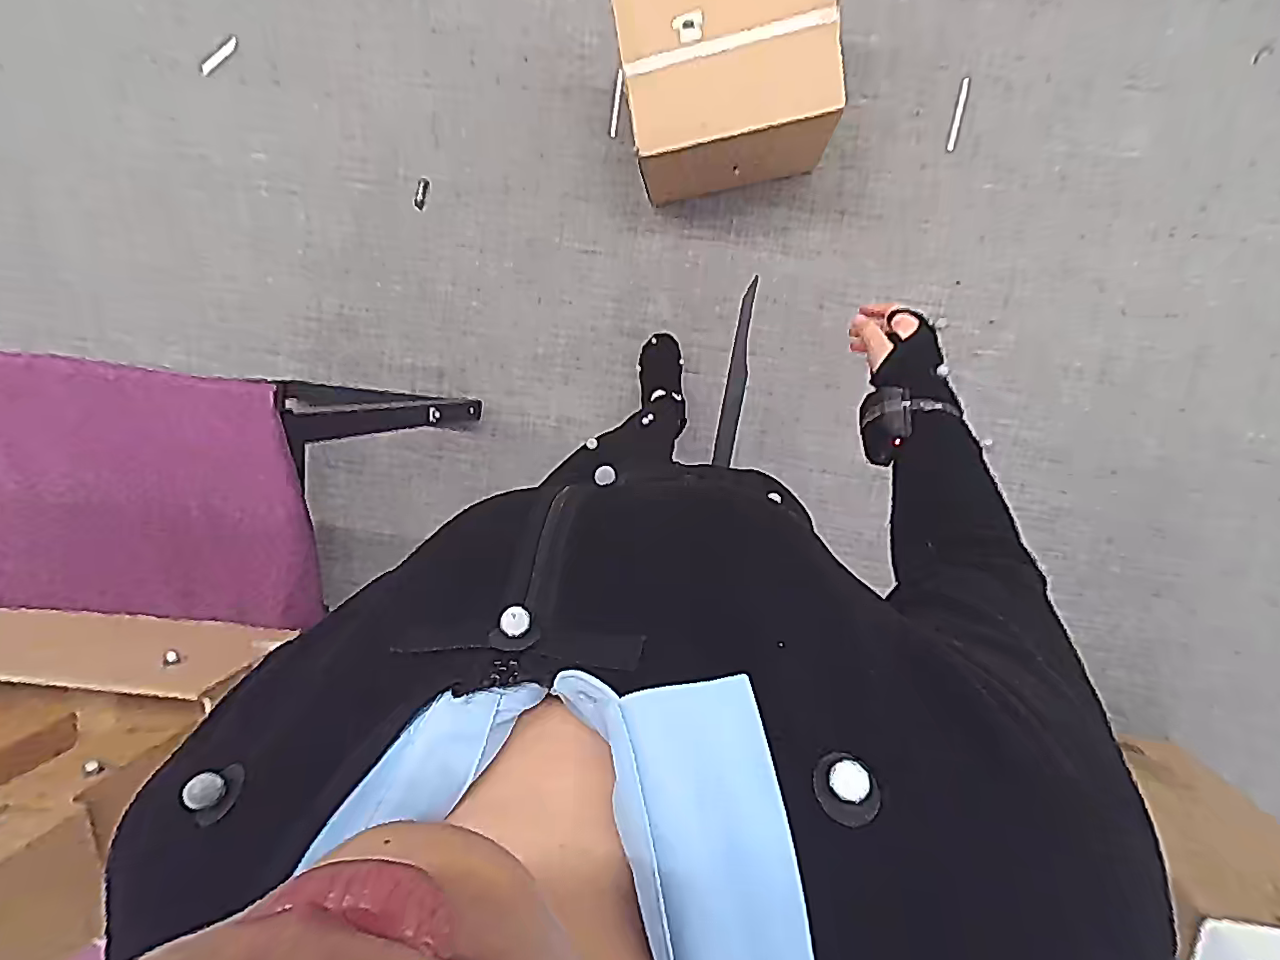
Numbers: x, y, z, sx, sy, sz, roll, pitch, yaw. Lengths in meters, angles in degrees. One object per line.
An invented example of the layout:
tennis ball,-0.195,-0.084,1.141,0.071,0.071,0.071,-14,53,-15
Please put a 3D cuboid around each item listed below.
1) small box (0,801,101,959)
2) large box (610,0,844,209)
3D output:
small box,-0.772,0.505,0.611,0.168,0.176,0.179,-2,98,9
large box,0.183,-0.830,1.164,0.408,0.320,0.320,-9,98,9
